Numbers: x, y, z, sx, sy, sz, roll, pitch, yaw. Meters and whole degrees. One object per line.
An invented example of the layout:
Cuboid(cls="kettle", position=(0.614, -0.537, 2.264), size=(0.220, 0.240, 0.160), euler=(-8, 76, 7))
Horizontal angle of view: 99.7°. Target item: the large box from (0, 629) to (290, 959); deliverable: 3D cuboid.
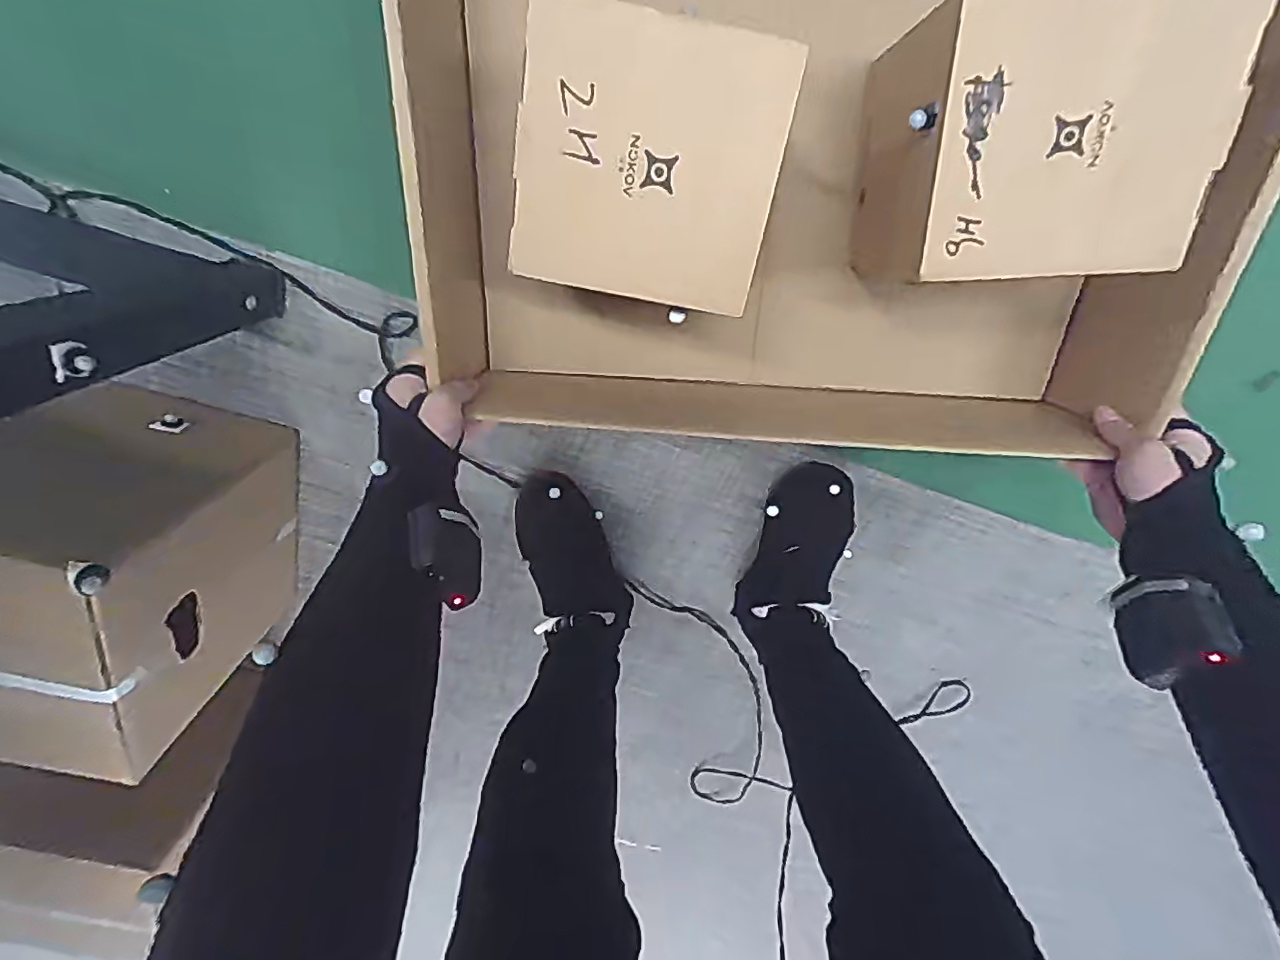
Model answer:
Cuboid(cls="large box", position=(-0.846, 0.494, 0.858), size=(0.408, 0.320, 0.320), euler=(18, 117, -7))
